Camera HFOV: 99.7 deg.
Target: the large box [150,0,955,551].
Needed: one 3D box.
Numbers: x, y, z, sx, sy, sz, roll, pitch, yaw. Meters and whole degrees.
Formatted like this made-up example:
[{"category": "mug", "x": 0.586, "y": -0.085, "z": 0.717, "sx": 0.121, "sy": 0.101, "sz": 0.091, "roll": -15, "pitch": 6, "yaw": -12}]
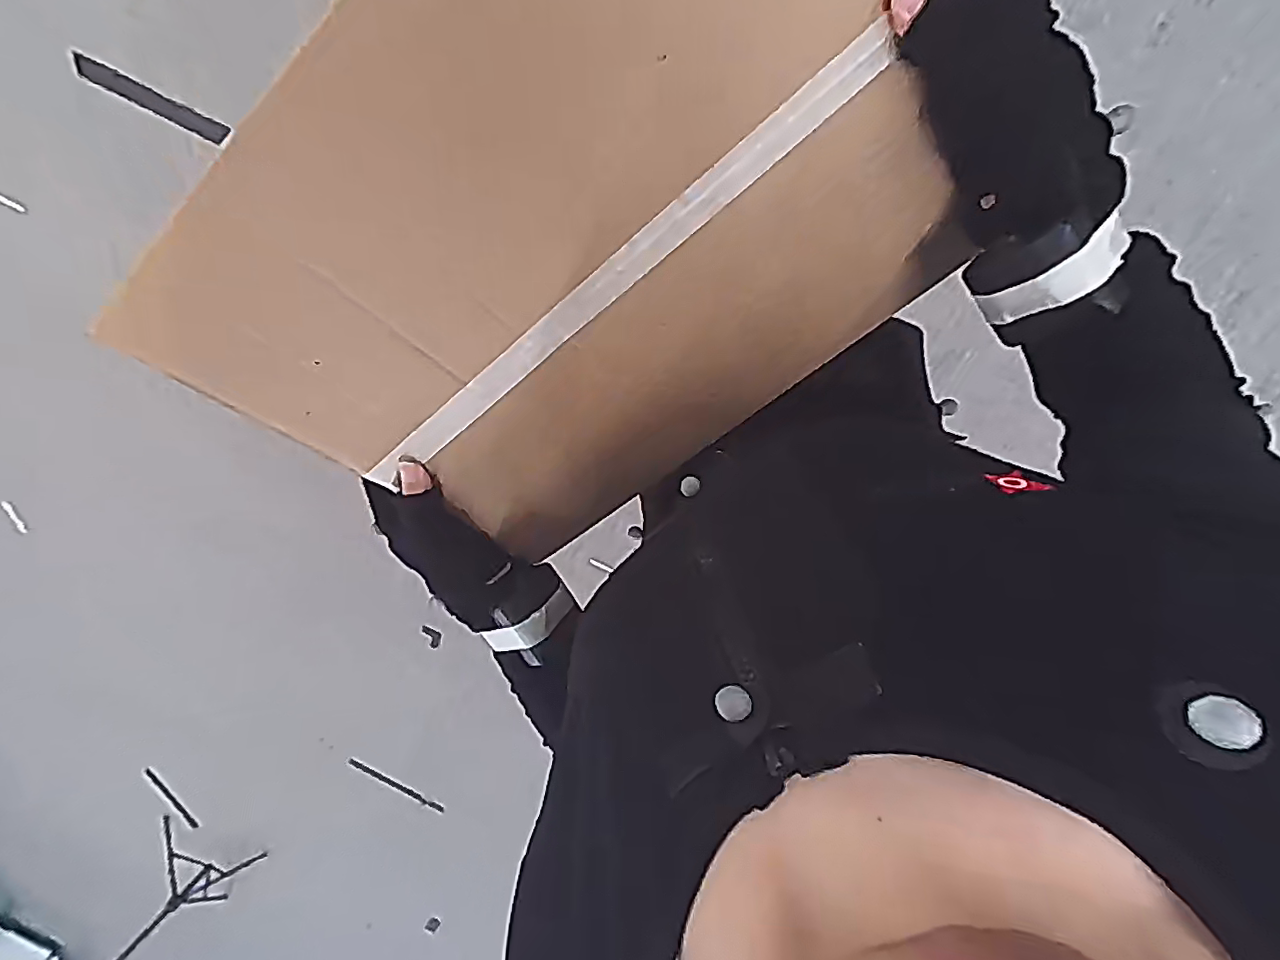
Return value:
[{"category": "large box", "x": -0.058, "y": -0.218, "z": 0.428, "sx": 0.408, "sy": 0.320, "sz": 0.320, "roll": -36, "pitch": 134, "yaw": 17}]
